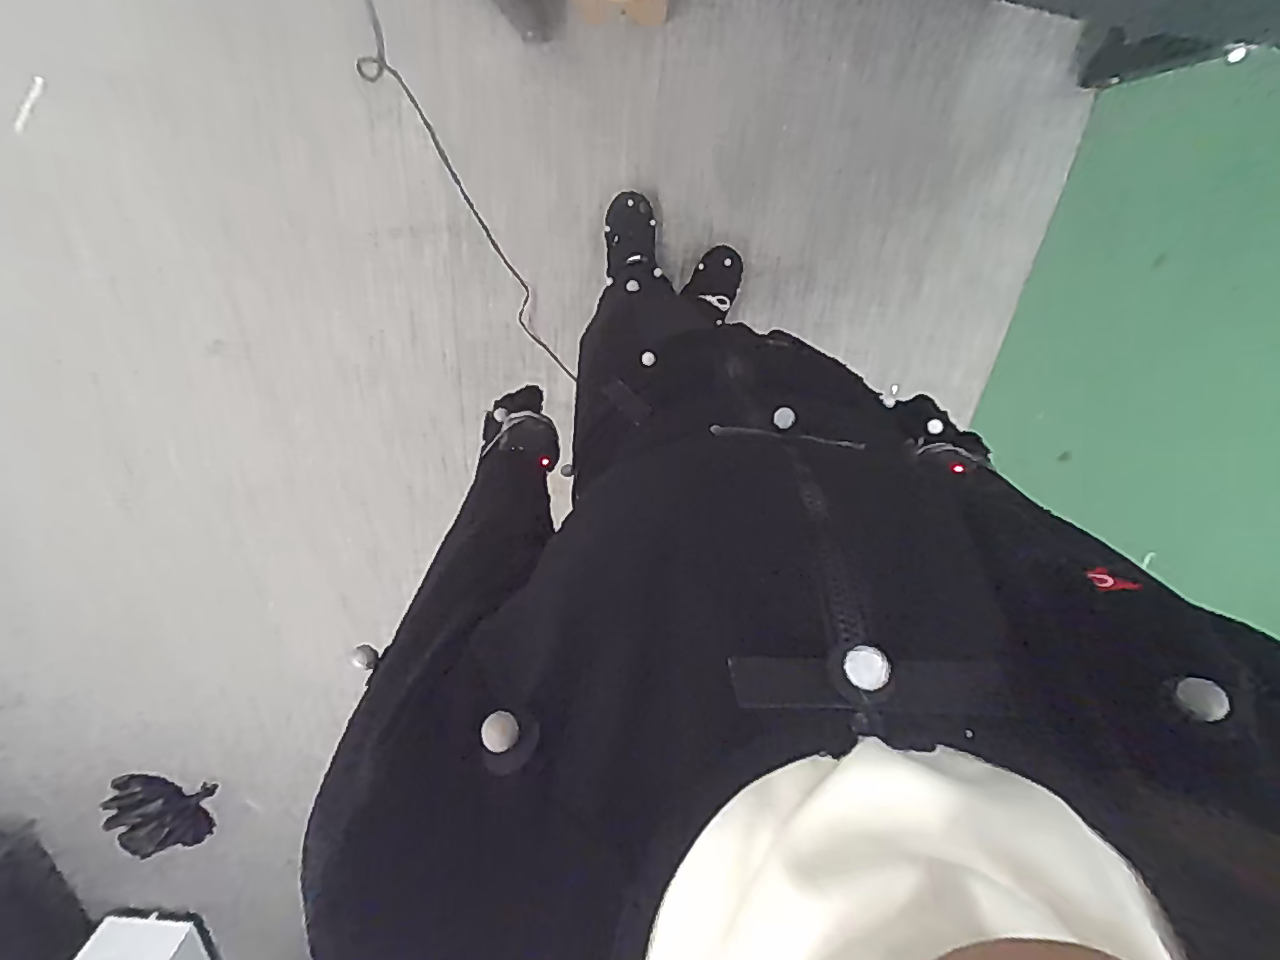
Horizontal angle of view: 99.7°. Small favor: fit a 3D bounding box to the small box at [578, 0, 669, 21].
[{"bbox_3d":[-0.027,-0.942,0.955,0.168,0.176,0.179,2,117,1],"label":"small box"}]
